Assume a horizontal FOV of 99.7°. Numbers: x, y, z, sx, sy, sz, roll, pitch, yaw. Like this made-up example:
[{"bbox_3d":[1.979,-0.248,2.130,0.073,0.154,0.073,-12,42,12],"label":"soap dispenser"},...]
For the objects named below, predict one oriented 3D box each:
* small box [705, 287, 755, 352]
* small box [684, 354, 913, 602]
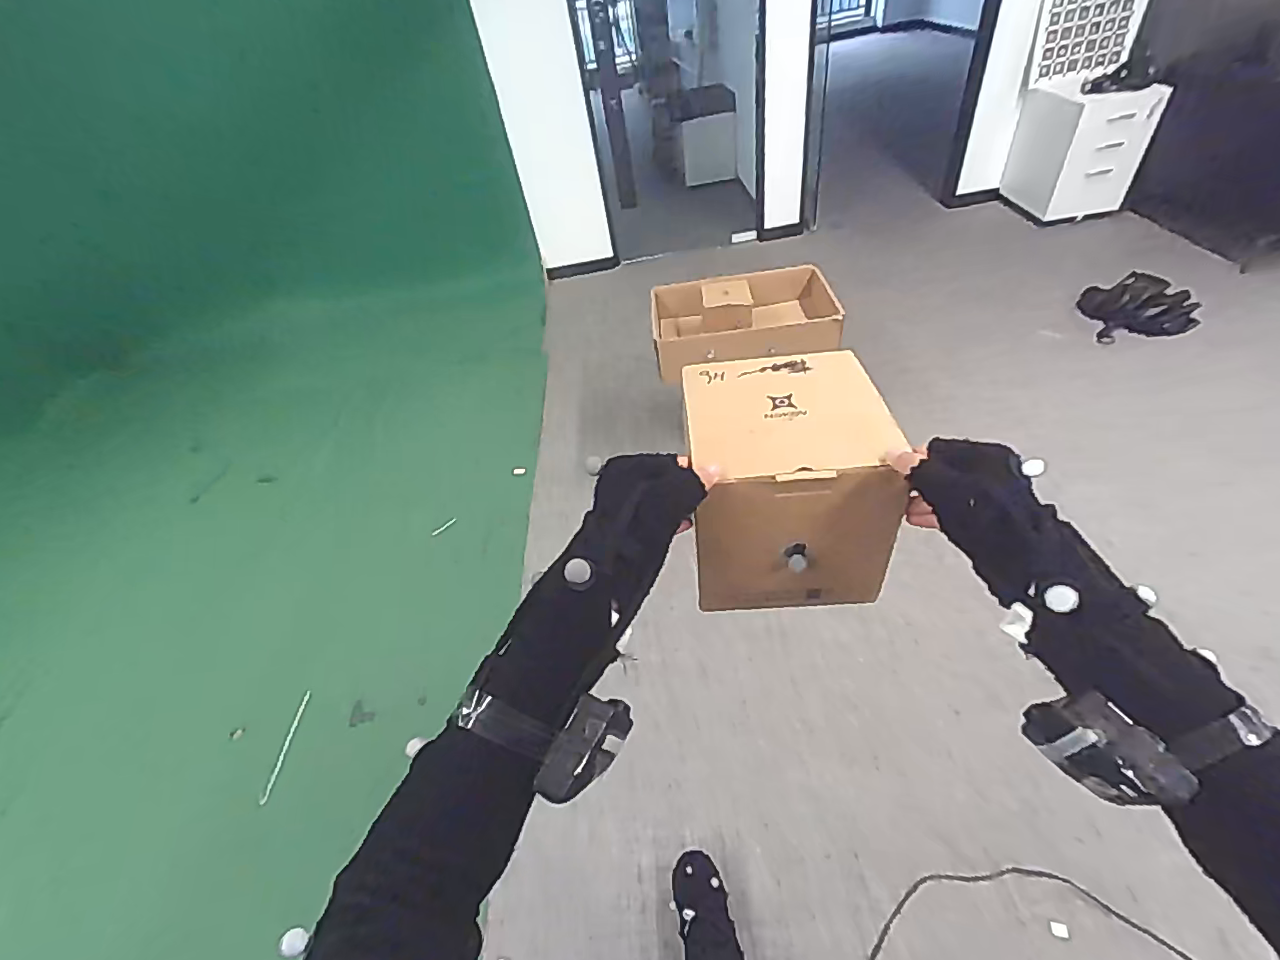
[{"bbox_3d":[0.320,-0.567,1.931,0.168,0.176,0.179,-3,42,6],"label":"small box"},{"bbox_3d":[0.132,0.003,0.516,0.168,0.176,0.179,-4,41,4],"label":"small box"}]
